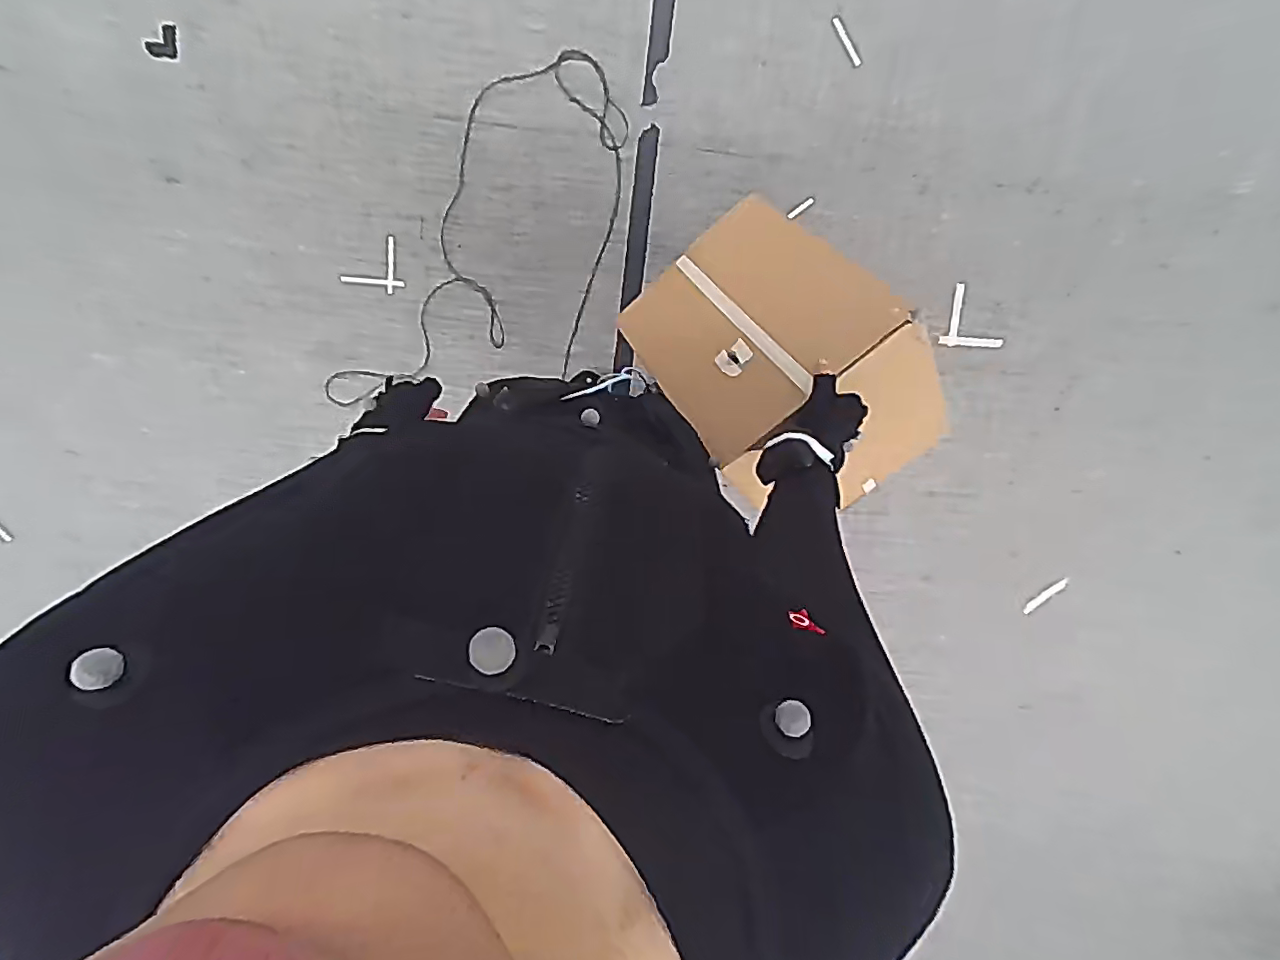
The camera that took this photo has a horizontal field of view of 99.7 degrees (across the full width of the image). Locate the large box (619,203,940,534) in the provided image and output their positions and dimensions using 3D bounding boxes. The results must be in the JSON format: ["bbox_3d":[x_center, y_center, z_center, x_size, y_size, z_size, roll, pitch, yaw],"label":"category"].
[{"bbox_3d":[0.229,-0.184,0.929,0.320,0.408,0.320,-40,141,13],"label":"large box"}]
